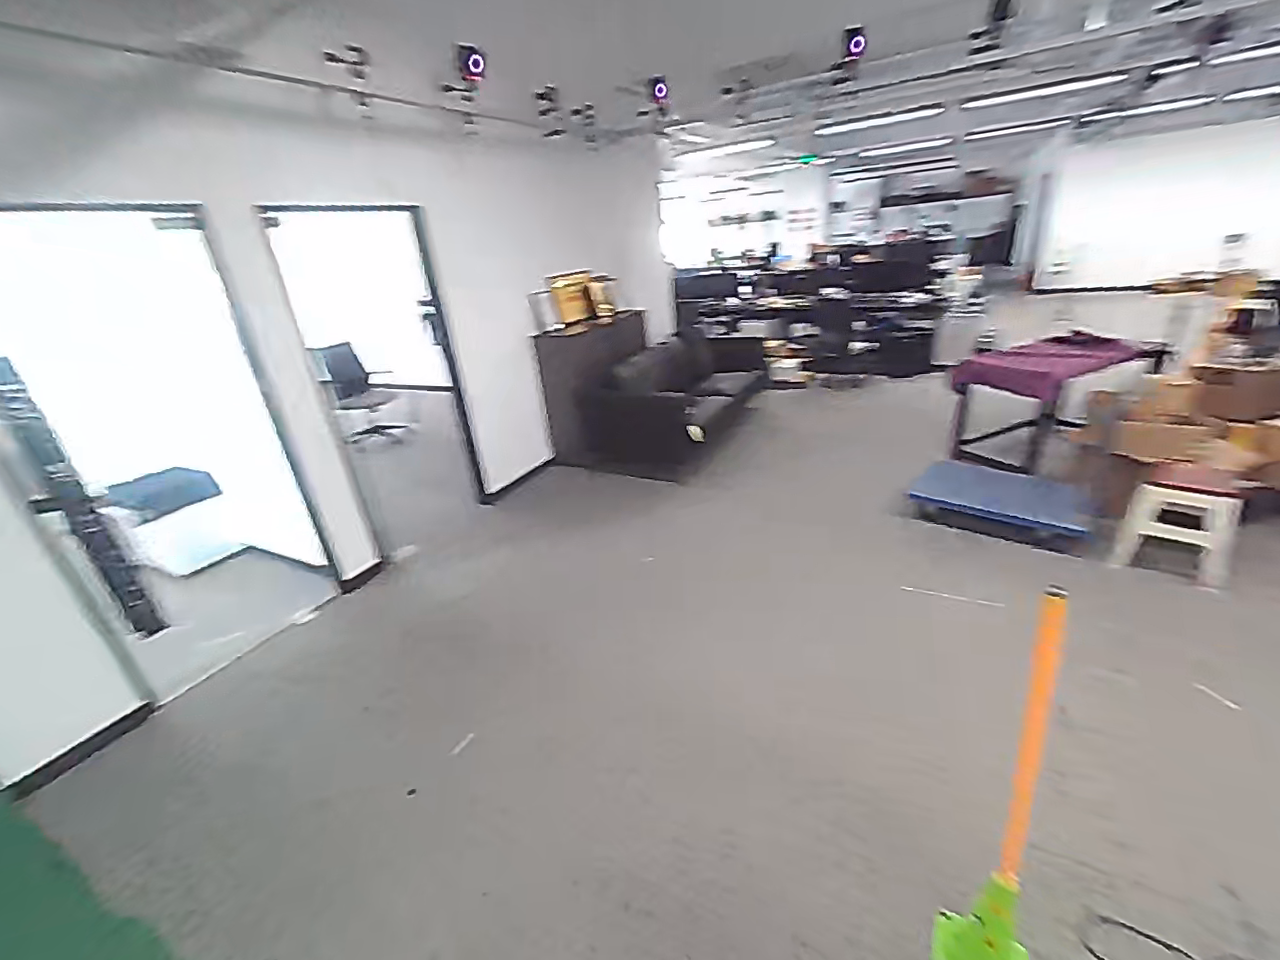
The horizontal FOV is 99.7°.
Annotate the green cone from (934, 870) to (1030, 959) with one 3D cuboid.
[{"bbox_3d":[0.808,1.019,1.230,0.202,0.368,0.200,9,28,29],"label":"green cone"}]
